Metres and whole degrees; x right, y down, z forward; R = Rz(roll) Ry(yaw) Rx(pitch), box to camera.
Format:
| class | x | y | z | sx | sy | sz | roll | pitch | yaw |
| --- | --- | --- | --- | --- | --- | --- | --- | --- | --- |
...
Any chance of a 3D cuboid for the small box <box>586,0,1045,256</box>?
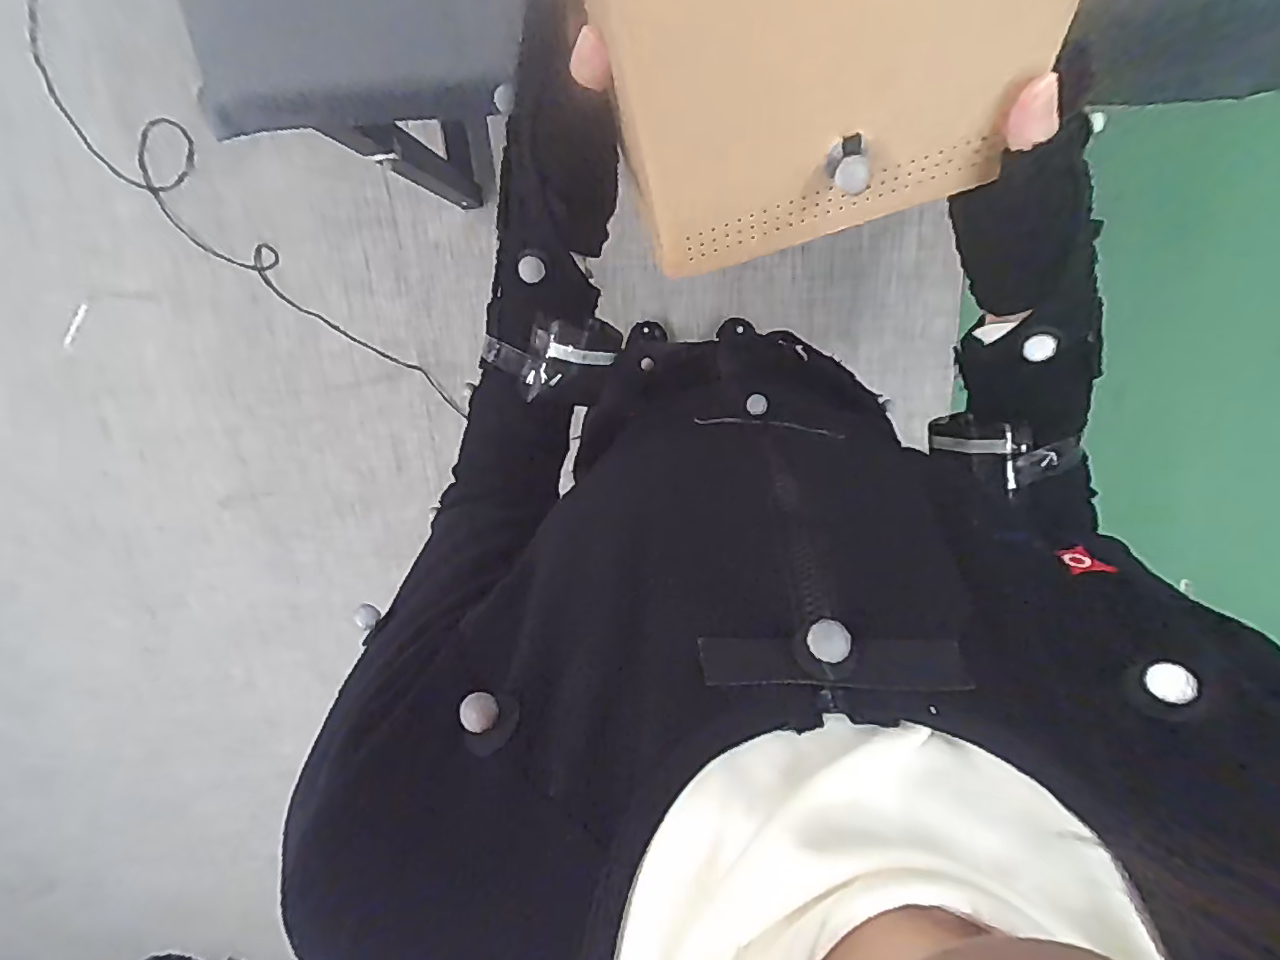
| class | x | y | z | sx | sy | sz | roll | pitch | yaw |
| --- | --- | --- | --- | --- | --- | --- | --- | --- | --- |
| small box | 0.064 | -0.239 | 0.243 | 0.179 | 0.176 | 0.168 | -16 | 63 | 5 |
